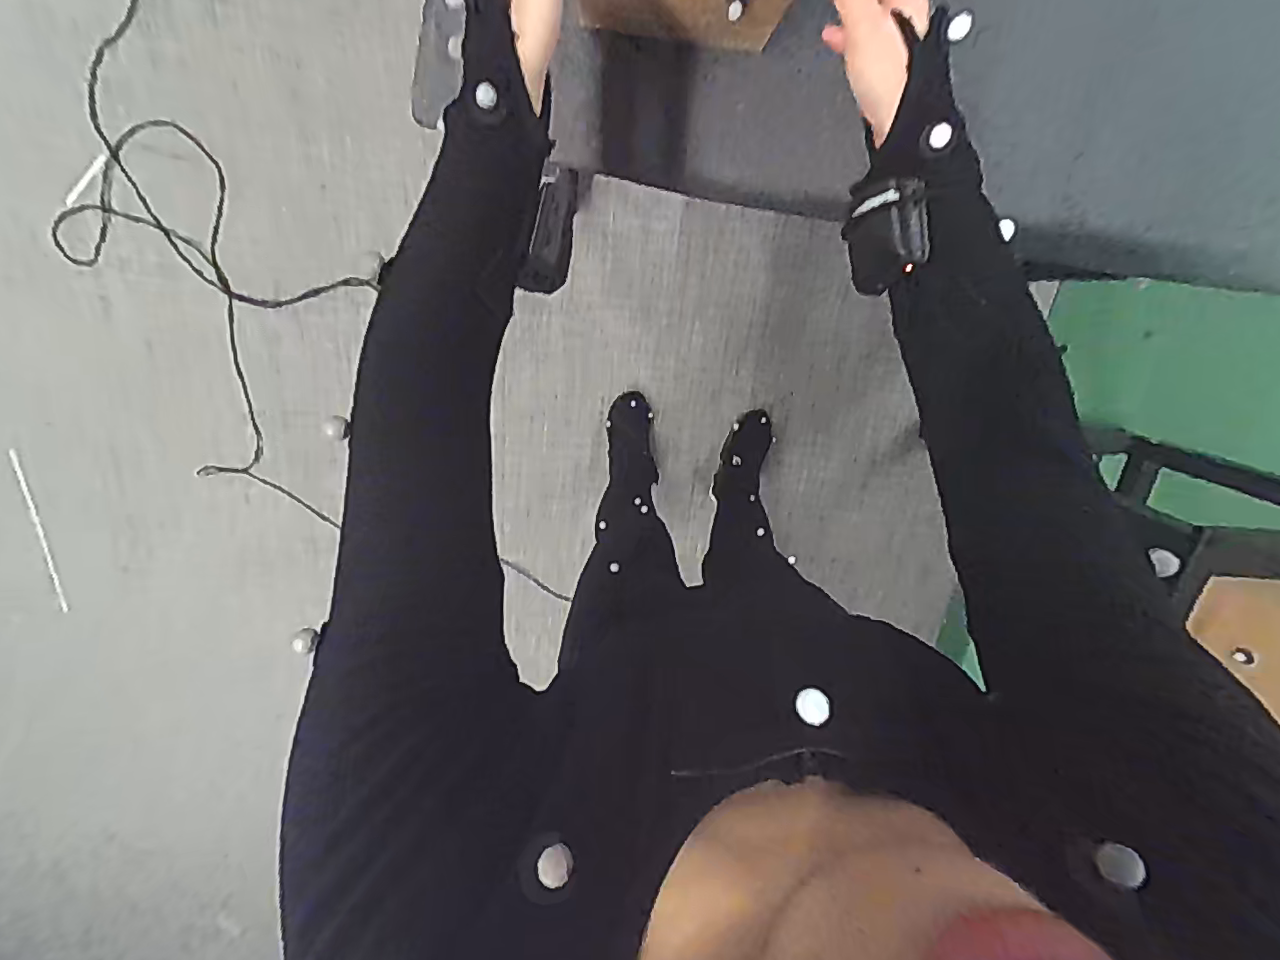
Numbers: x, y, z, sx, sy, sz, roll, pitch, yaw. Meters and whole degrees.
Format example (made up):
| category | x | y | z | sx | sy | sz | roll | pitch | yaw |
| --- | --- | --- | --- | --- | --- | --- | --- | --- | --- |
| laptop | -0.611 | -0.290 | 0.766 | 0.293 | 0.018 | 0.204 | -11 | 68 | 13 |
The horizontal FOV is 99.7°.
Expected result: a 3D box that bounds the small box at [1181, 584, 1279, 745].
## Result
| category | x | y | z | sx | sy | sz | roll | pitch | yaw |
| --- | --- | --- | --- | --- | --- | --- | --- | --- | --- |
| small box | 0.879 | 0.249 | 0.697 | 0.179 | 0.176 | 0.168 | 4 | 110 | -4 |
